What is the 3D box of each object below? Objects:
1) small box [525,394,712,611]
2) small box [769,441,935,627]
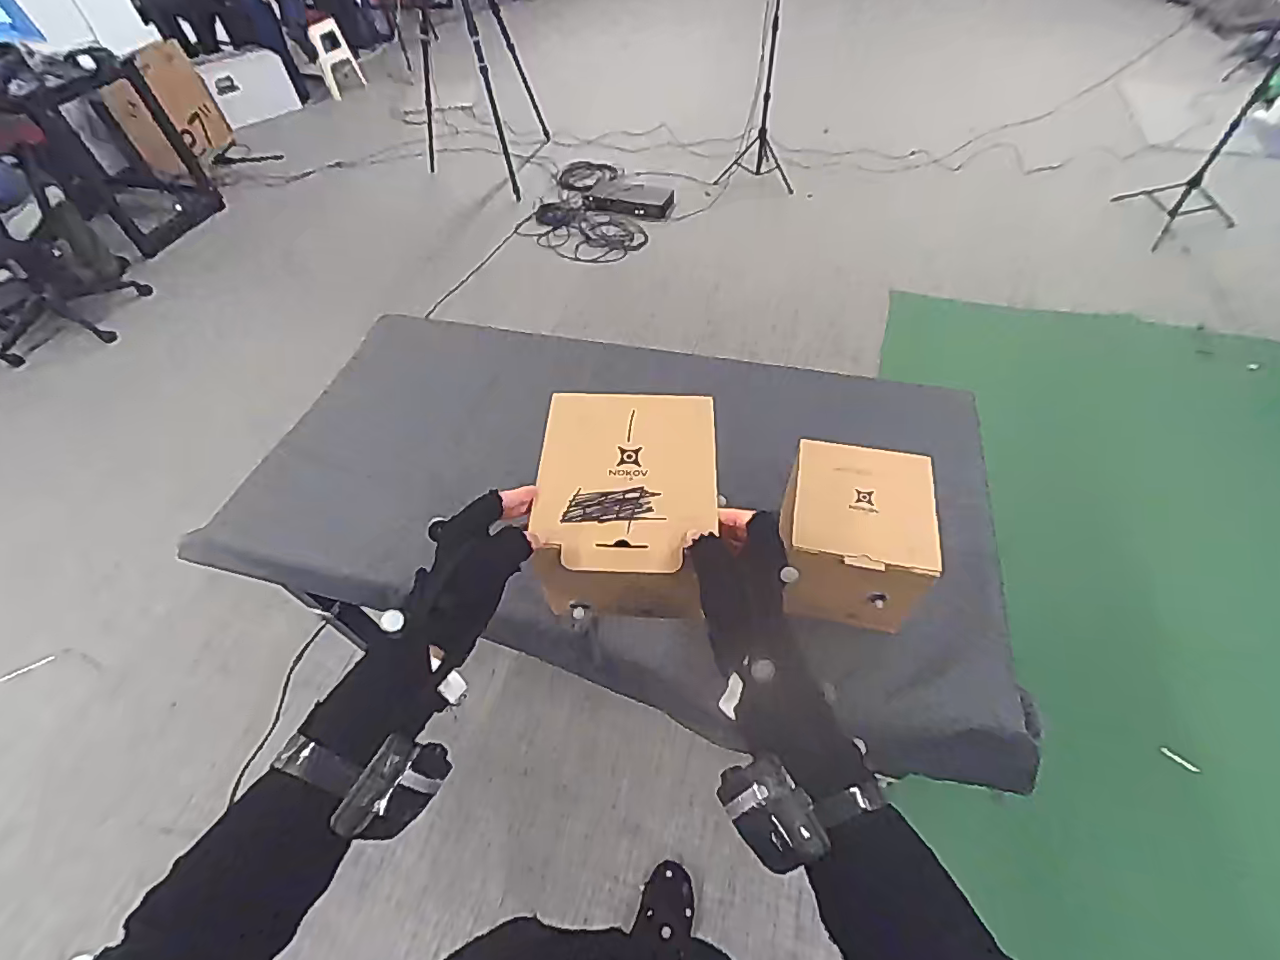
[{"bbox_3d":[-0.012,0.030,0.572,0.168,0.176,0.179,1,56,2],"label":"small box"},{"bbox_3d":[0.270,0.075,0.722,0.168,0.176,0.179,8,52,9],"label":"small box"}]
